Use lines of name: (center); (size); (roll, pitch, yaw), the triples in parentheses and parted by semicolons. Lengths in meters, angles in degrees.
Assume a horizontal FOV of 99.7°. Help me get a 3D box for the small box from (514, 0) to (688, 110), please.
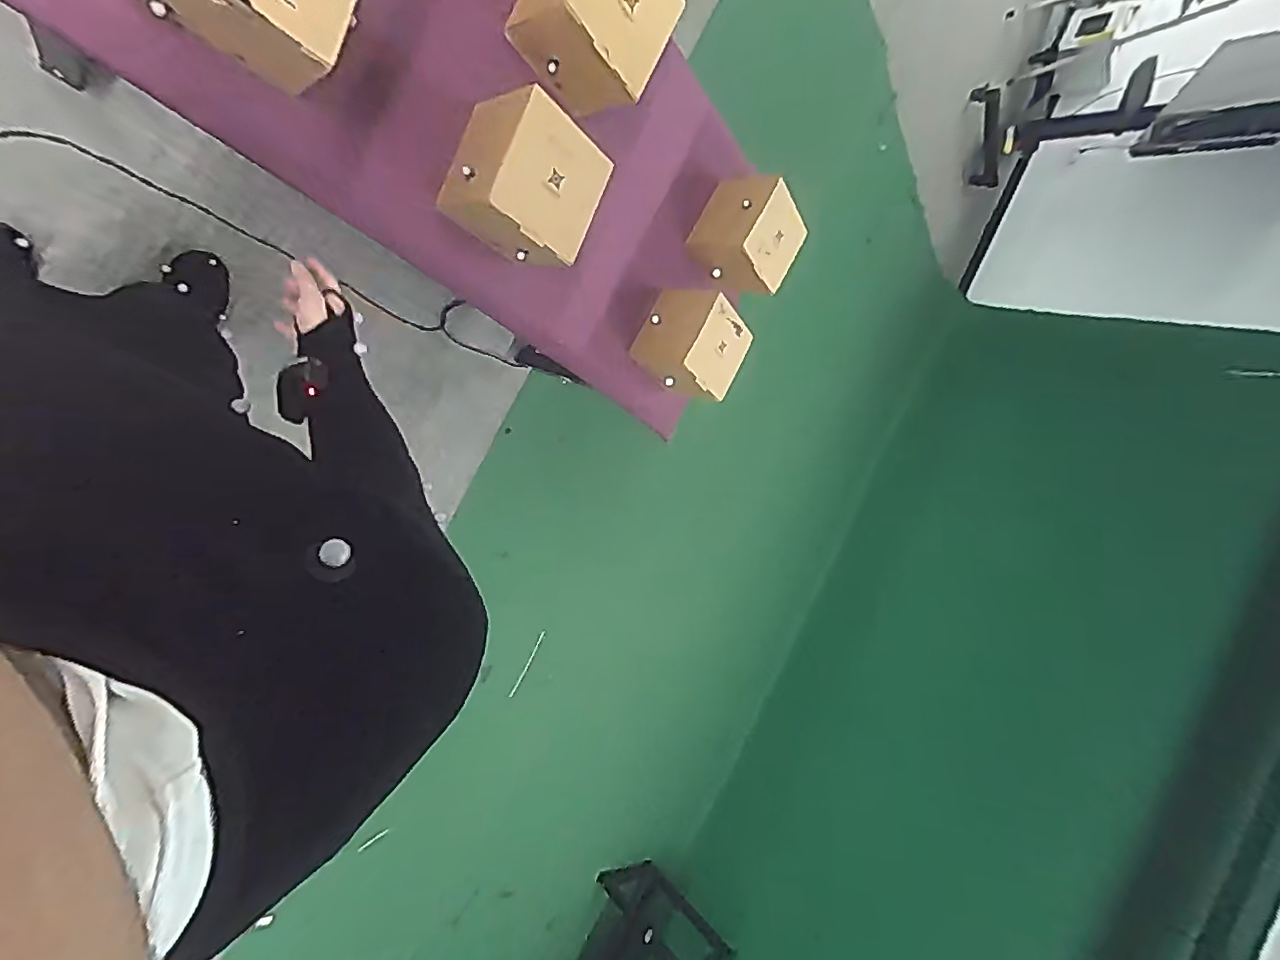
small box: (-0.063, -0.712, 0.828); (0.168, 0.176, 0.179); (27, 90, -48)

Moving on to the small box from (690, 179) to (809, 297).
small box: (0.244, -0.542, 1.213); (0.168, 0.176, 0.179); (35, 84, -47)

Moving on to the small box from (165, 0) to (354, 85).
small box: (-0.399, -0.557, 0.559); (0.168, 0.176, 0.179); (19, 93, -48)

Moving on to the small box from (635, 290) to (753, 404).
small box: (0.114, -0.298, 1.198); (0.168, 0.176, 0.179); (35, 82, -47)

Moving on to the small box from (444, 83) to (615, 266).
small box: (-0.176, -0.457, 0.835); (0.168, 0.176, 0.179); (24, 90, -49)
